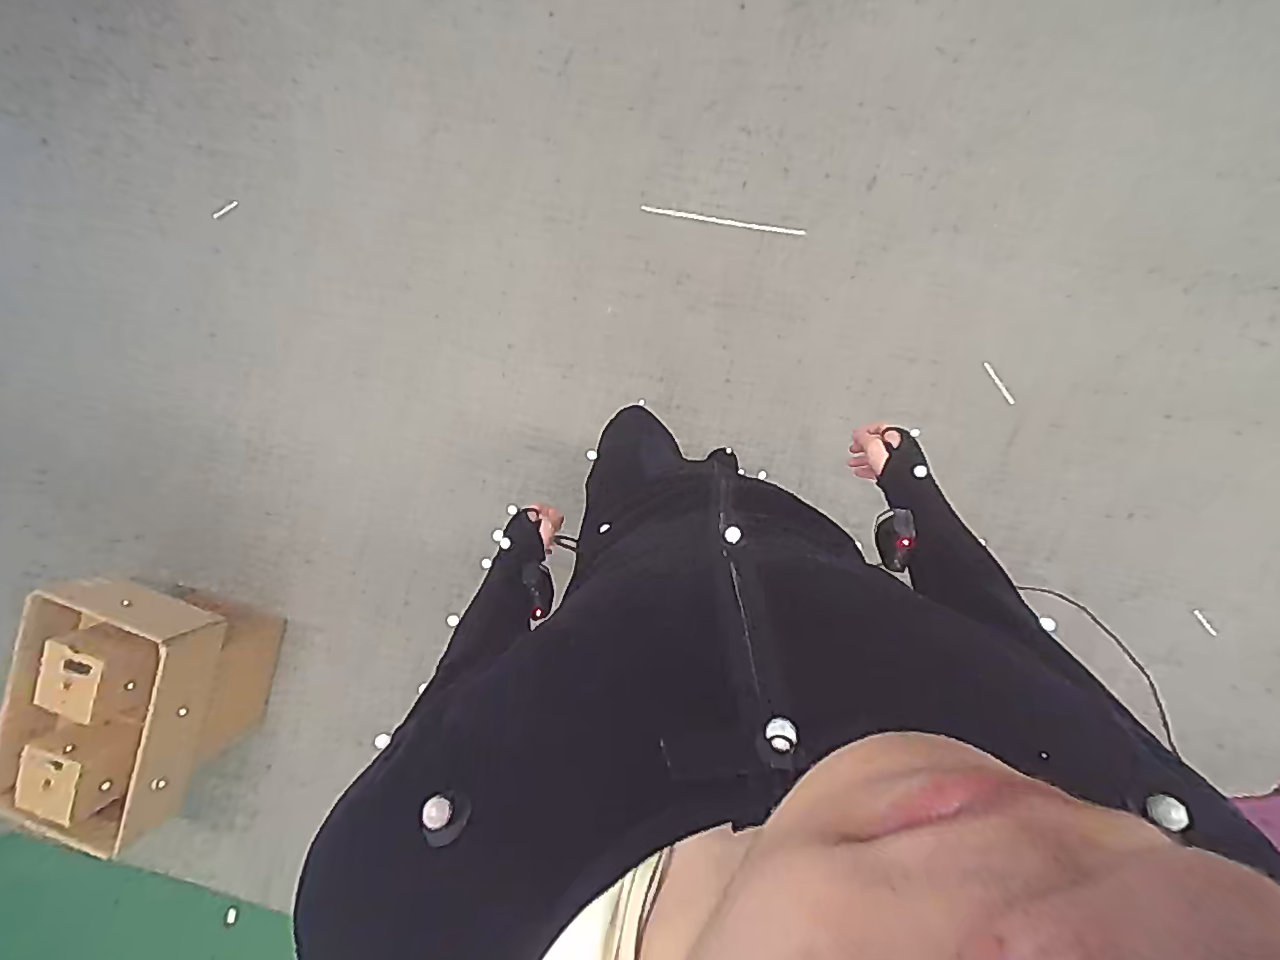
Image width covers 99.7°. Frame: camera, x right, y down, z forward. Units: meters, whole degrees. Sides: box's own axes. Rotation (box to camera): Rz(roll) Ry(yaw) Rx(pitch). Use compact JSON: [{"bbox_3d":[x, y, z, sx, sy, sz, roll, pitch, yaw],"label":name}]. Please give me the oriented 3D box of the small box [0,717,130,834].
[{"bbox_3d":[-1.477,0.752,1.392,0.168,0.176,0.179,16,96,4],"label":"small box"}]
